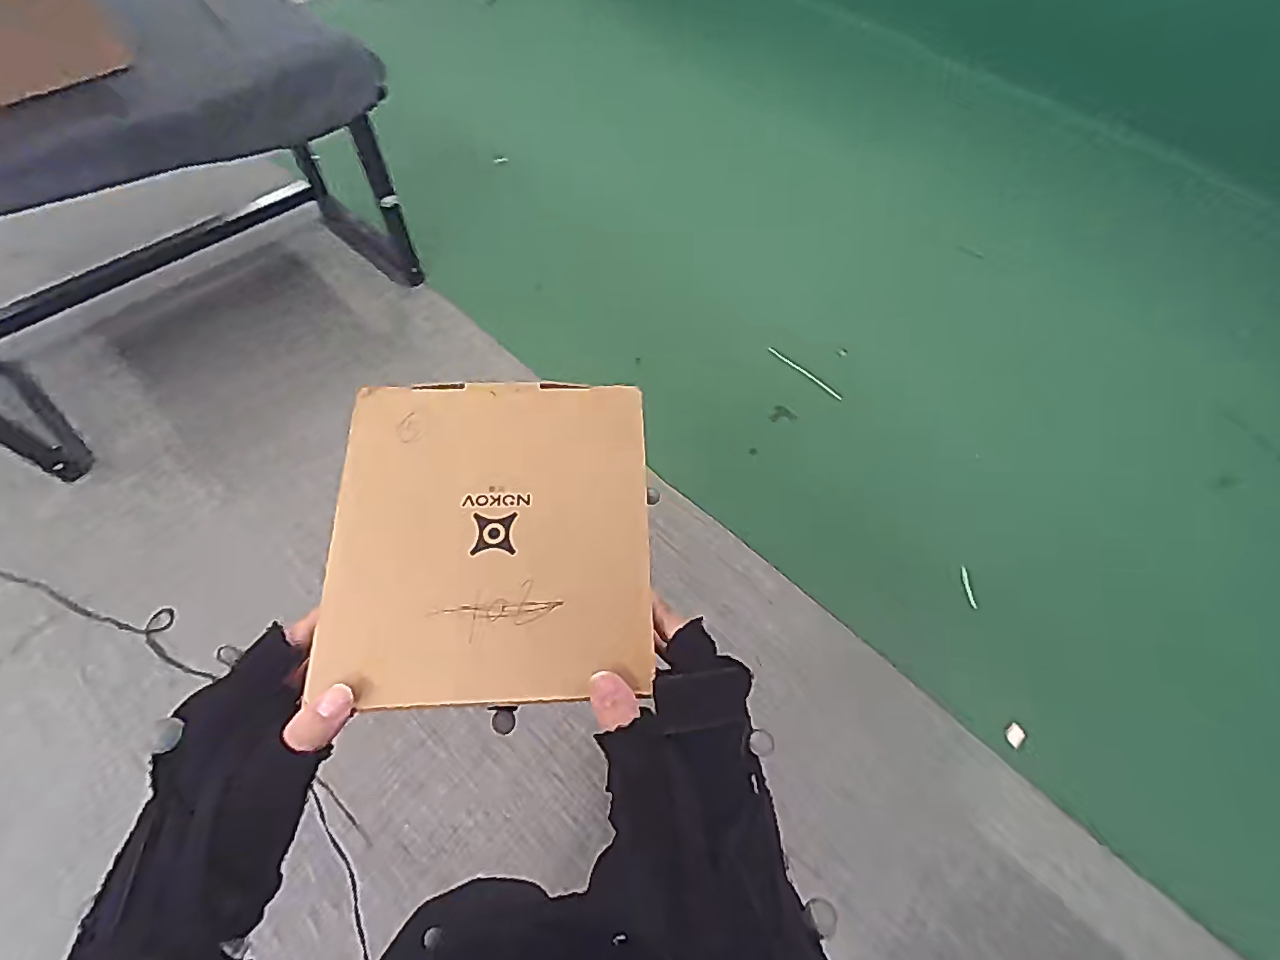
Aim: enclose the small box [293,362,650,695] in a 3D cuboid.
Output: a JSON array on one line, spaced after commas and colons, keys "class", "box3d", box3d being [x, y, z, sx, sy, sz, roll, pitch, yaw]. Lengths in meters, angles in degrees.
[{"class": "small box", "box3d": [-0.086, 0.042, 0.356, 0.168, 0.176, 0.179, -1, 68, -5]}]
